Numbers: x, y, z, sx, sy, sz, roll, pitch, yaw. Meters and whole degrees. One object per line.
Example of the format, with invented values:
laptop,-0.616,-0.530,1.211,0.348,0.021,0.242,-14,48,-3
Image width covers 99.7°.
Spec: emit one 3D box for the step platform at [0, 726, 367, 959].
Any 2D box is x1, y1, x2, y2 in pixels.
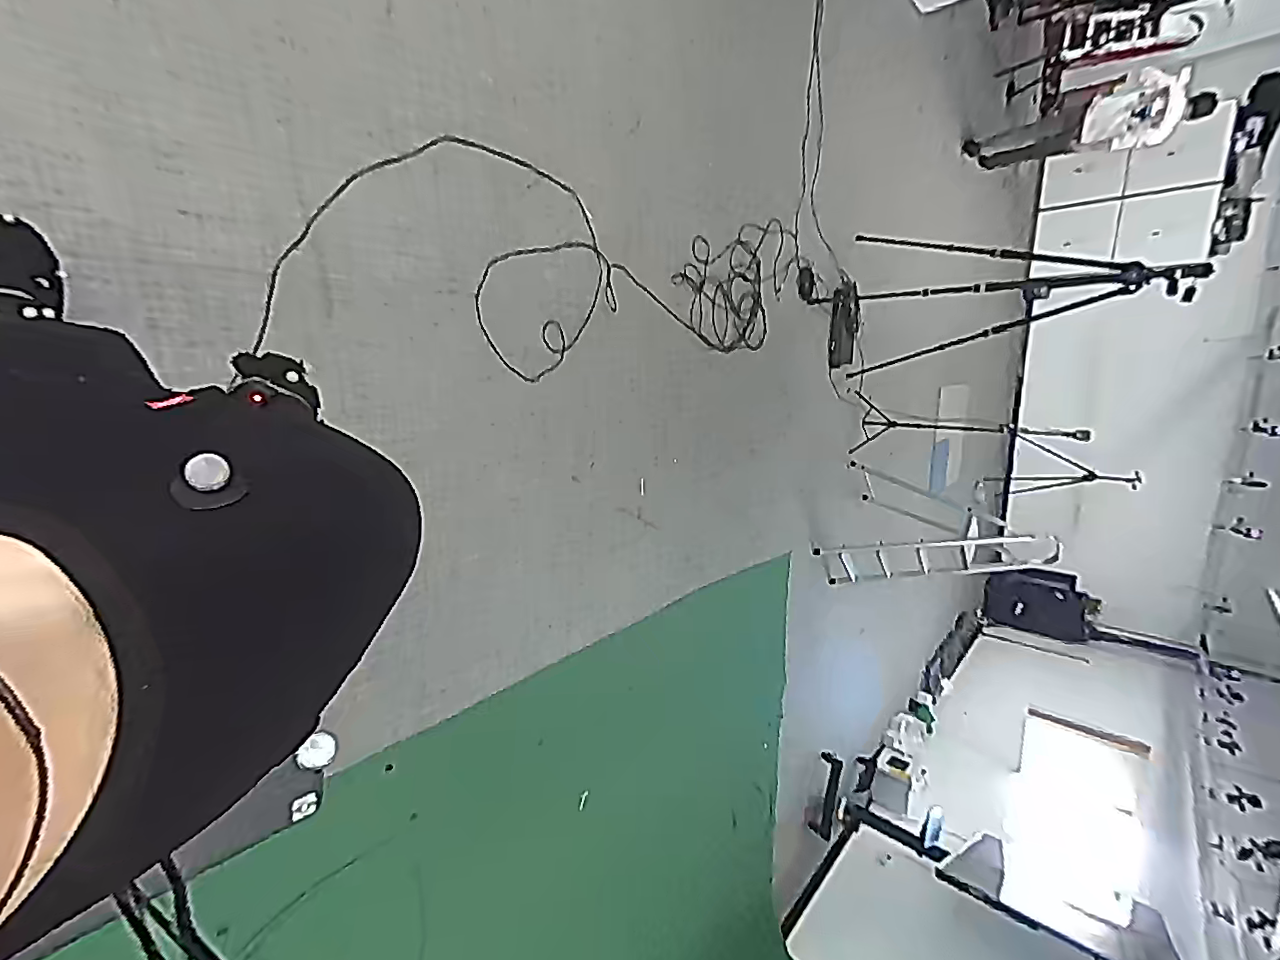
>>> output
step platform,-0.900,0.752,0.999,0.684,0.204,0.286,-13,107,-47
